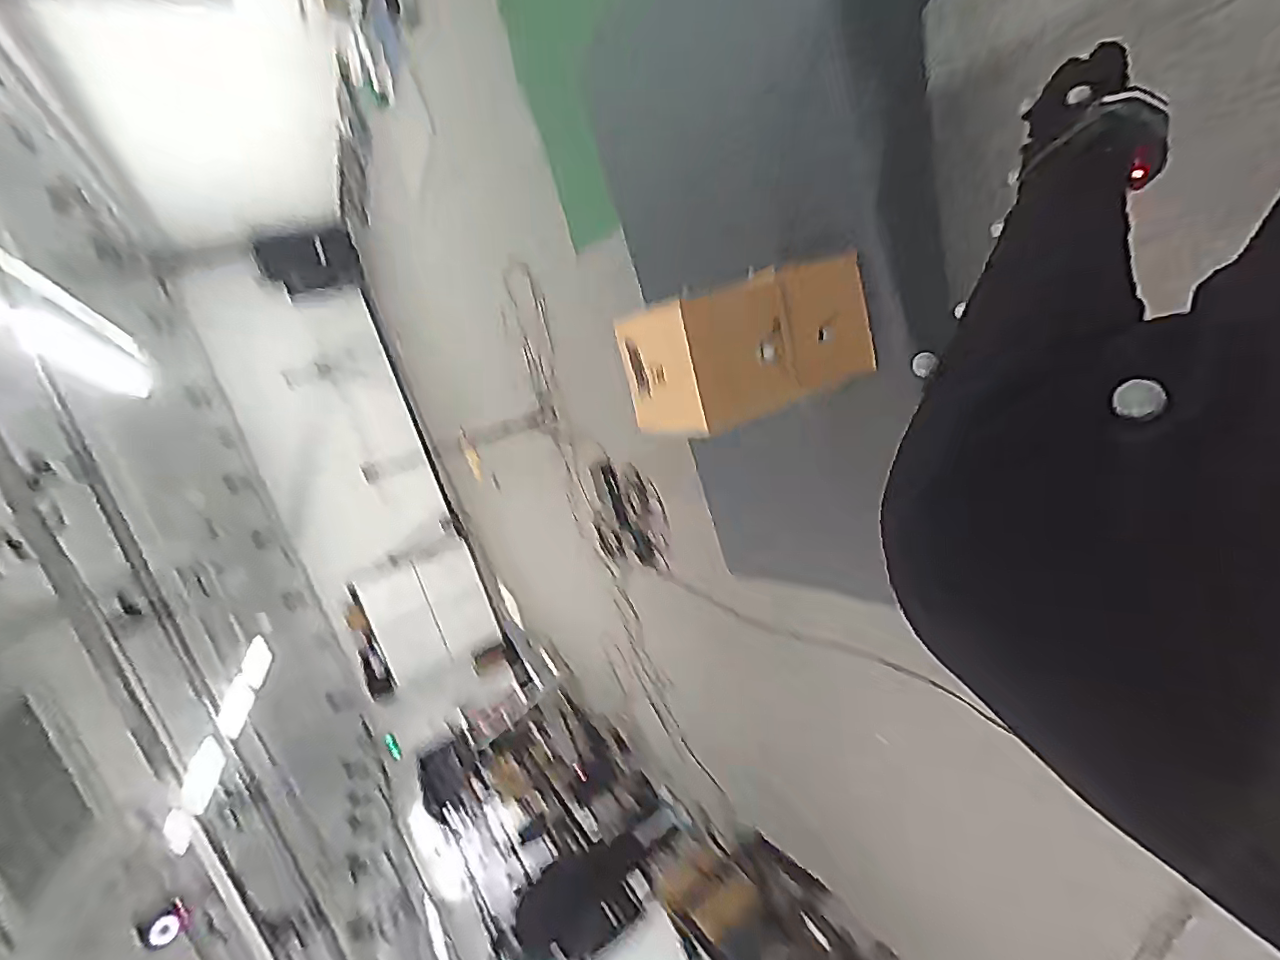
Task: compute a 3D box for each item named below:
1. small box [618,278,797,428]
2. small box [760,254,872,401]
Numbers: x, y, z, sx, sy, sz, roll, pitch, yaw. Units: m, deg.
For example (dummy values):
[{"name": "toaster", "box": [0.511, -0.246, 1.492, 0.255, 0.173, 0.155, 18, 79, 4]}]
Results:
[{"name": "small box", "box": [0.094, -0.176, 0.775, 0.179, 0.176, 0.168, 9, 117, 63]}, {"name": "small box", "box": [0.234, -0.230, 0.842, 0.168, 0.176, 0.179, 8, 117, 62]}]
